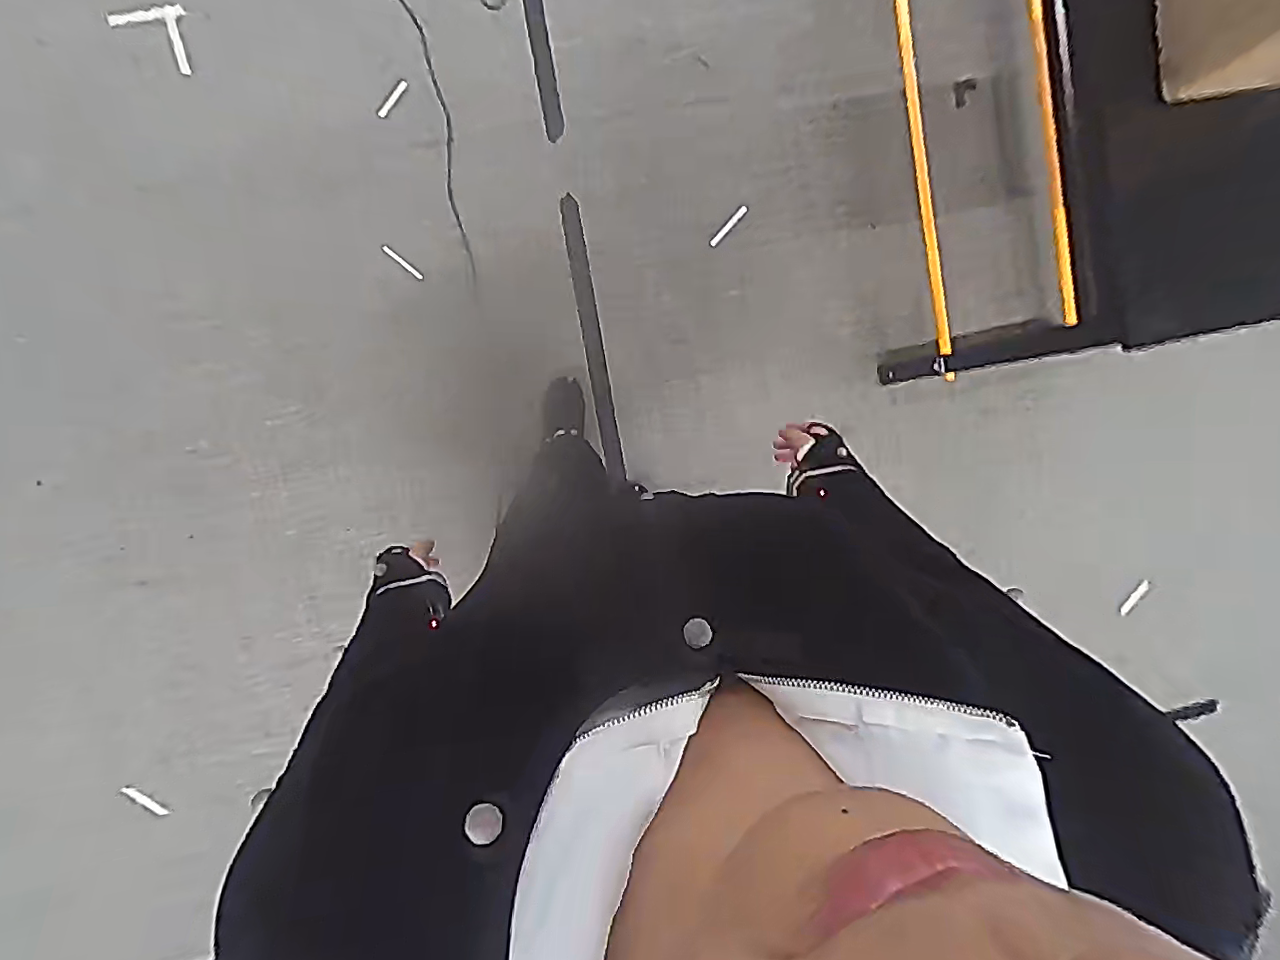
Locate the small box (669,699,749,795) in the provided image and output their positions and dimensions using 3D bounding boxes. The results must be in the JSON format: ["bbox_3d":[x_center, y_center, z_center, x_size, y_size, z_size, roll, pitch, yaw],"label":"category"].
[{"bbox_3d":[0.185,0.726,1.491,0.179,0.176,0.168,-9,95,-4],"label":"small box"}]
